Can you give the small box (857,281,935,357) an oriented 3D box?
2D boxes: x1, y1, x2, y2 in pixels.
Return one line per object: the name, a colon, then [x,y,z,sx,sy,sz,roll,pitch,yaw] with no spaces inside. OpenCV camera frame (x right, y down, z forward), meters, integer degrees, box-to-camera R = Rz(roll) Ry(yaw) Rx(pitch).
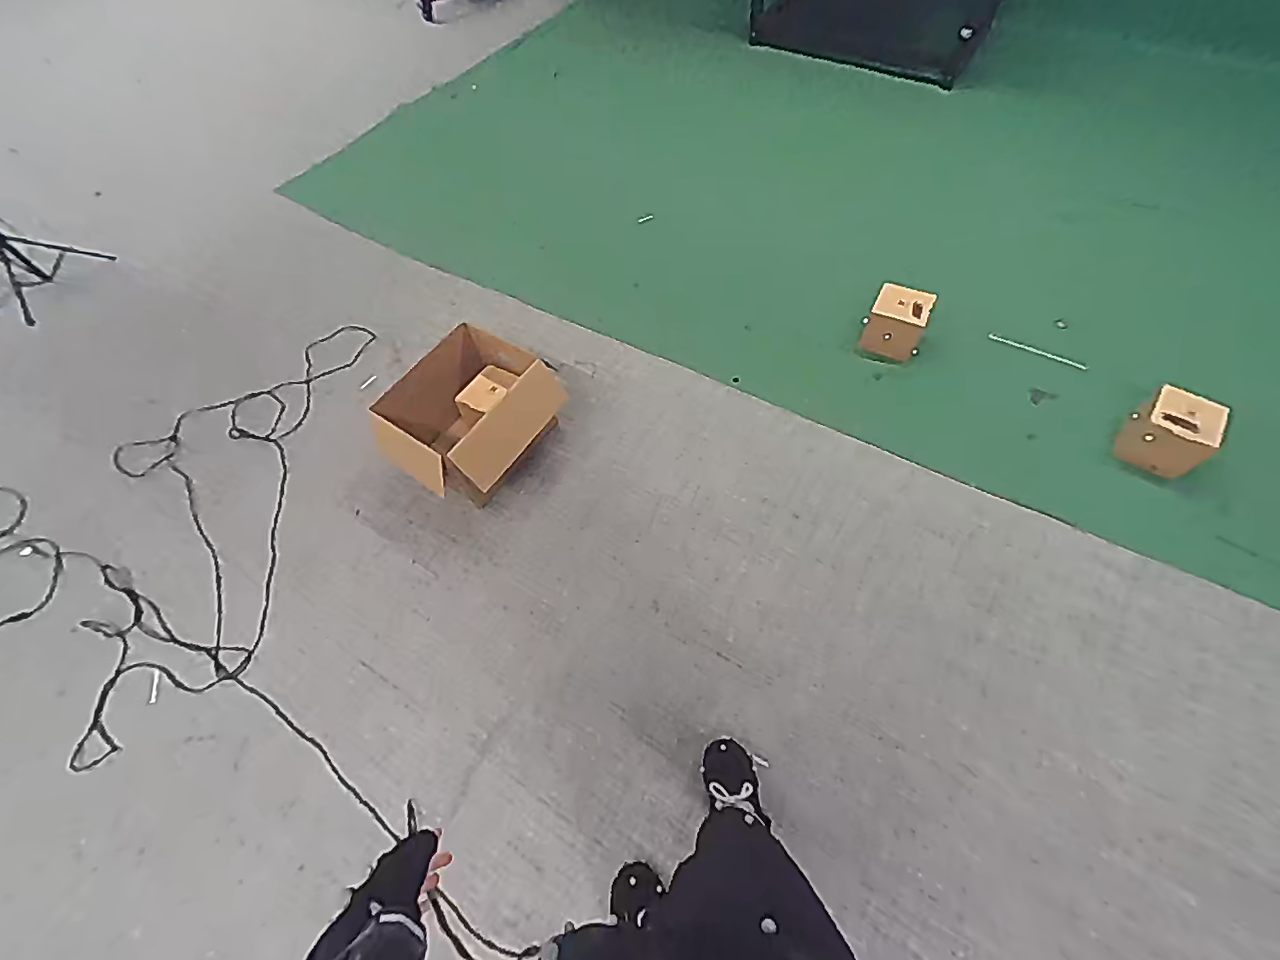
small box: [0.877,-0.550,1.865,0.179,0.176,0.168,23,63,18]
